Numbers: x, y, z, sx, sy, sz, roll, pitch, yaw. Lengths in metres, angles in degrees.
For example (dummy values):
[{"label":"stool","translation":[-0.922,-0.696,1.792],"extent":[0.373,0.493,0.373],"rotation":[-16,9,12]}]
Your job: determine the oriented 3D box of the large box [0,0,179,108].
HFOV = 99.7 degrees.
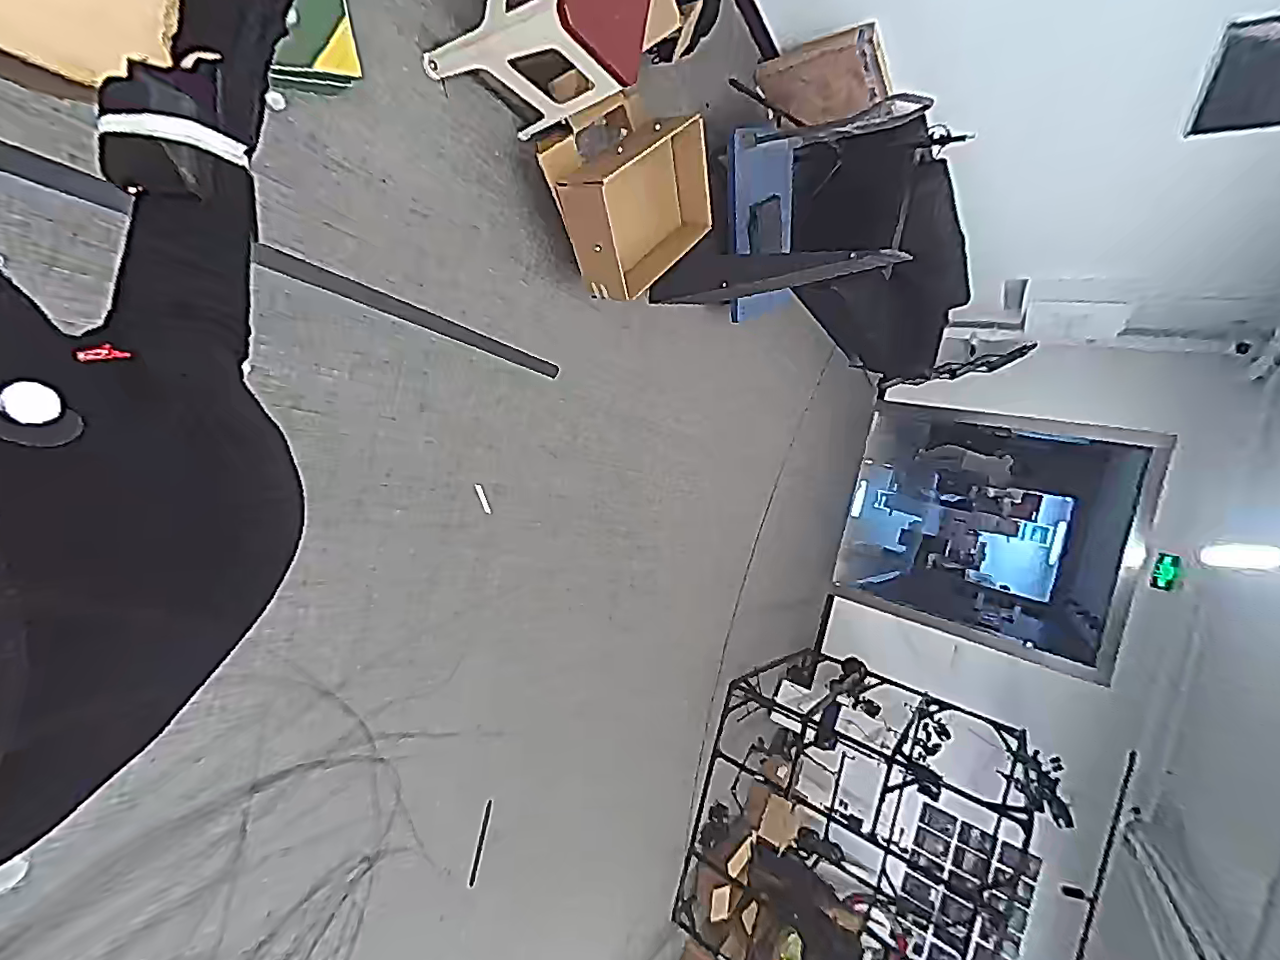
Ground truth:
[{"label":"large box","translation":[-0.515,-0.453,0.256],"extent":[0.408,0.320,0.320],"rotation":[-3,116,-58]}]
